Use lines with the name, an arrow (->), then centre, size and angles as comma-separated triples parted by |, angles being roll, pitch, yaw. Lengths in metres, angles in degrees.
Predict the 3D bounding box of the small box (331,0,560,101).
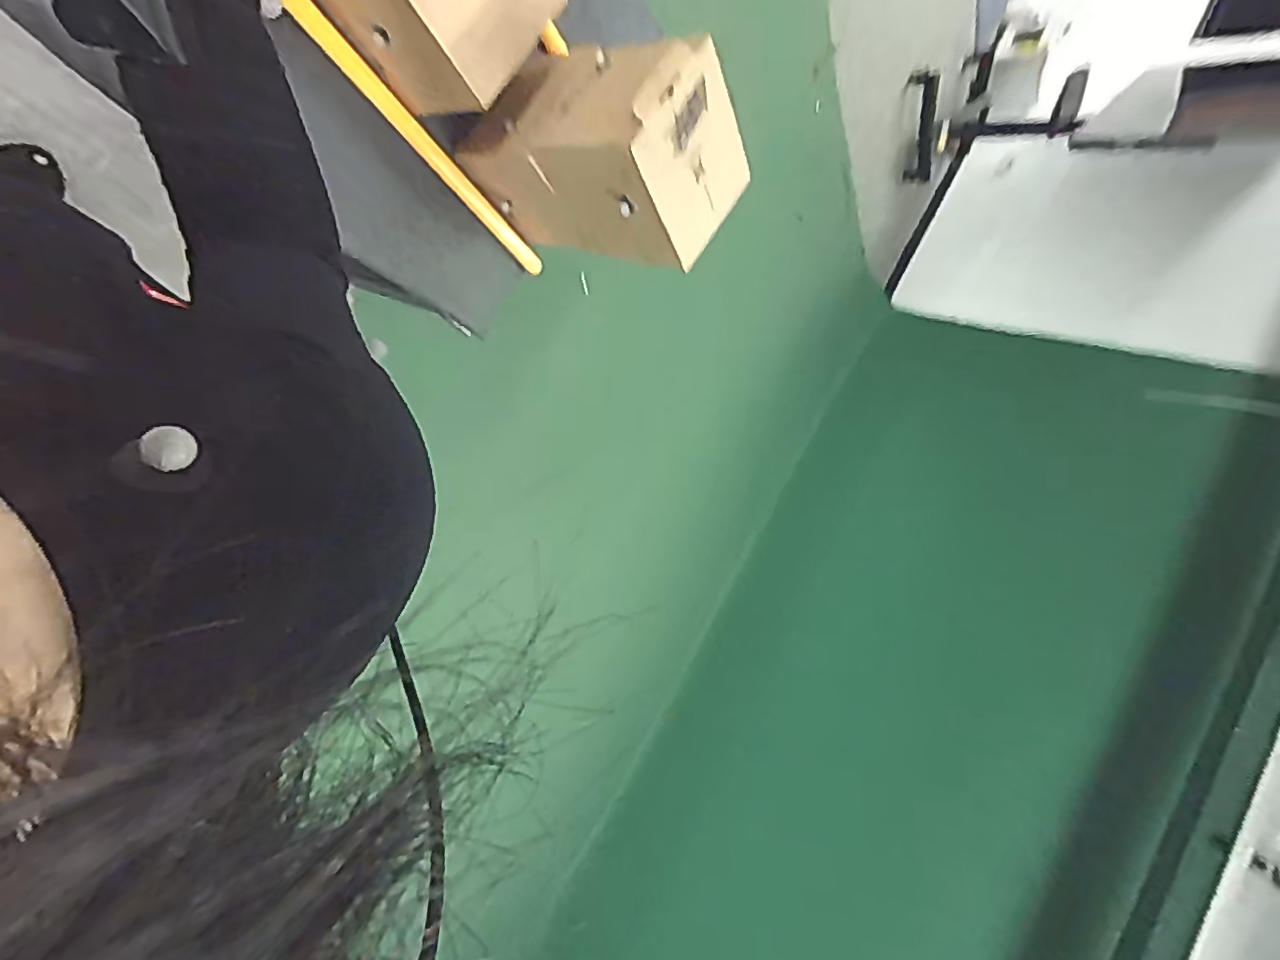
small box -> -0.220, -0.543, 0.578 | 0.179, 0.176, 0.168 | -59, 144, -8

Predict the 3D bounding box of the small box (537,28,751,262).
small box -> 0.007, -0.400, 0.667 | 0.168, 0.176, 0.179 | -57, 145, -10
